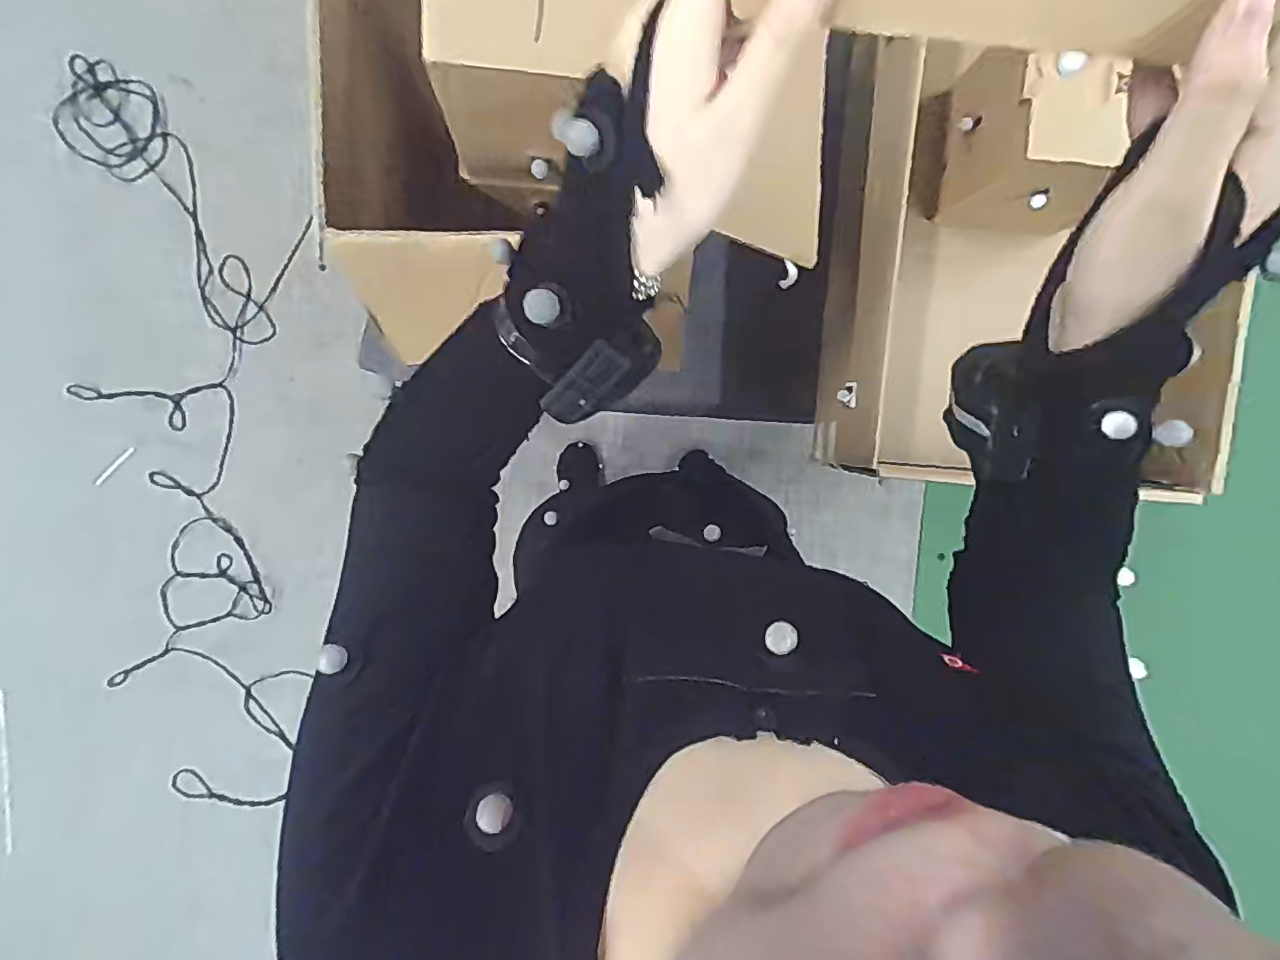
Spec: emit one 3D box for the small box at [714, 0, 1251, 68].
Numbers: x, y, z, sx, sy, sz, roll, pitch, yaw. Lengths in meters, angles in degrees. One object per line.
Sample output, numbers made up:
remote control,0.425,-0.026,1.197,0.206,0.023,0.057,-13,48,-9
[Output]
small box,0.126,-0.267,0.167,0.179,0.168,0.176,10,58,5
